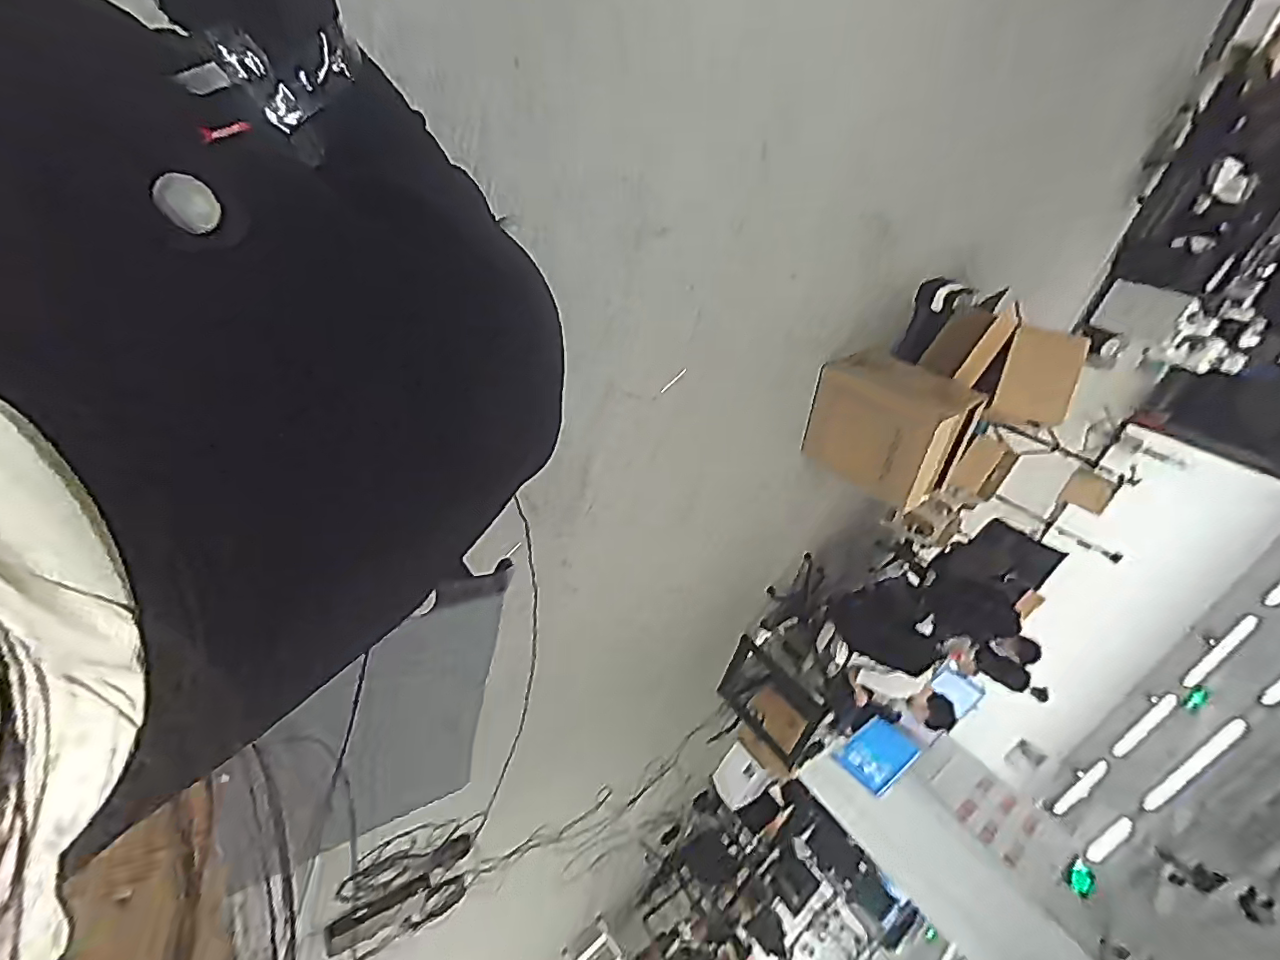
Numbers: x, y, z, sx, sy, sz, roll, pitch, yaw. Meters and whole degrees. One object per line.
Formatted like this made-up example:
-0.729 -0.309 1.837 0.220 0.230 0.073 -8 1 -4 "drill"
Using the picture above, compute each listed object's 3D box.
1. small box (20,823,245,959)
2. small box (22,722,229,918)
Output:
-0.573 0.551 0.623 0.179 0.176 0.168 -10 127 -39 "small box"
-0.669 0.466 0.721 0.179 0.176 0.168 -9 128 -41 "small box"
